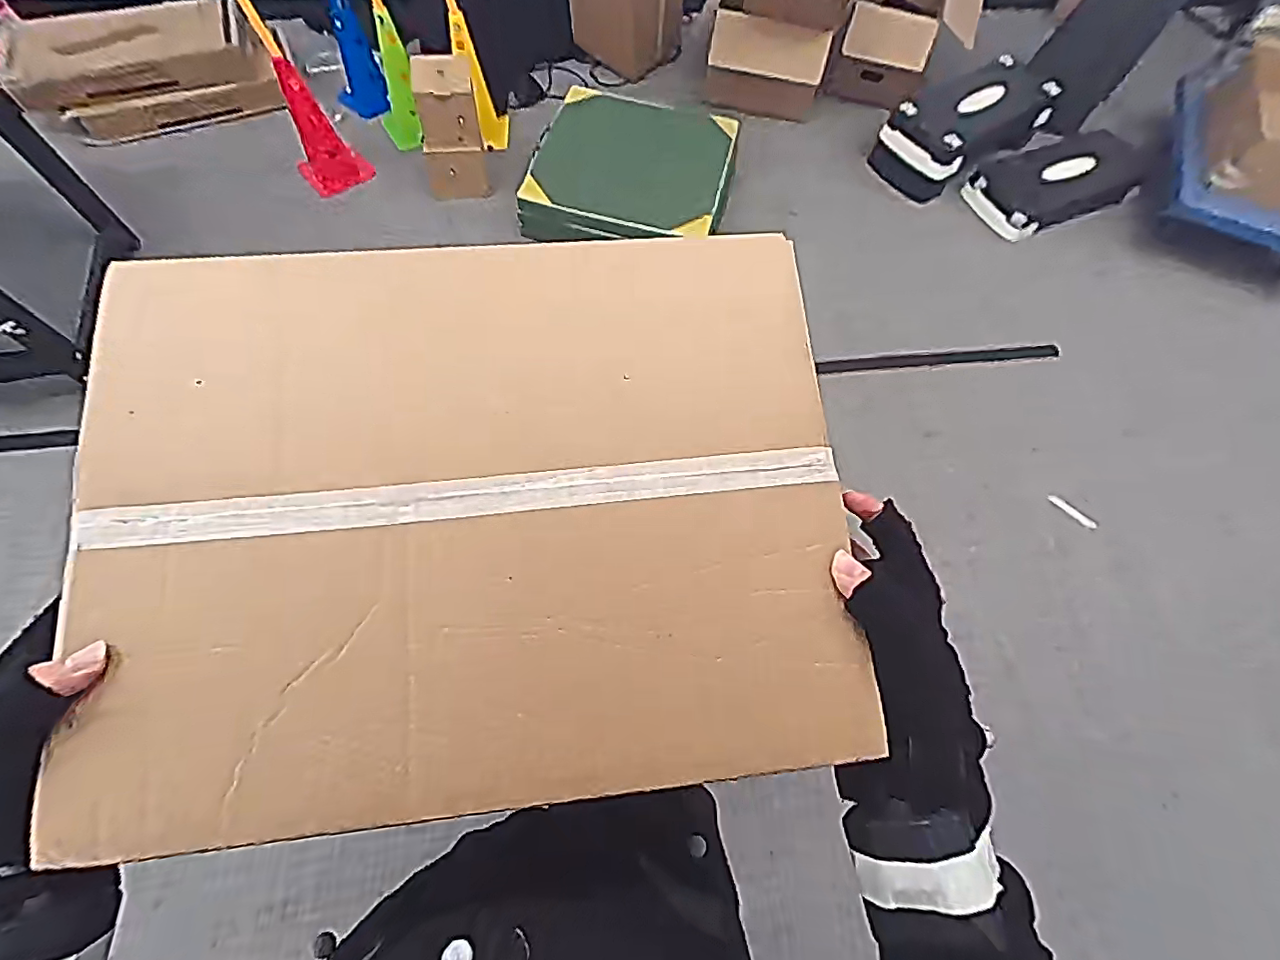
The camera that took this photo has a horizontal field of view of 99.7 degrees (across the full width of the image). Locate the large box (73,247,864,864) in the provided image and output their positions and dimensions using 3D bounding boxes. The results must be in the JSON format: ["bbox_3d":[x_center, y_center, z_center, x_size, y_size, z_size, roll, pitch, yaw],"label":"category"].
[{"bbox_3d":[-0.099,0.047,0.450,0.408,0.320,0.320,-5,76,-5],"label":"large box"}]
